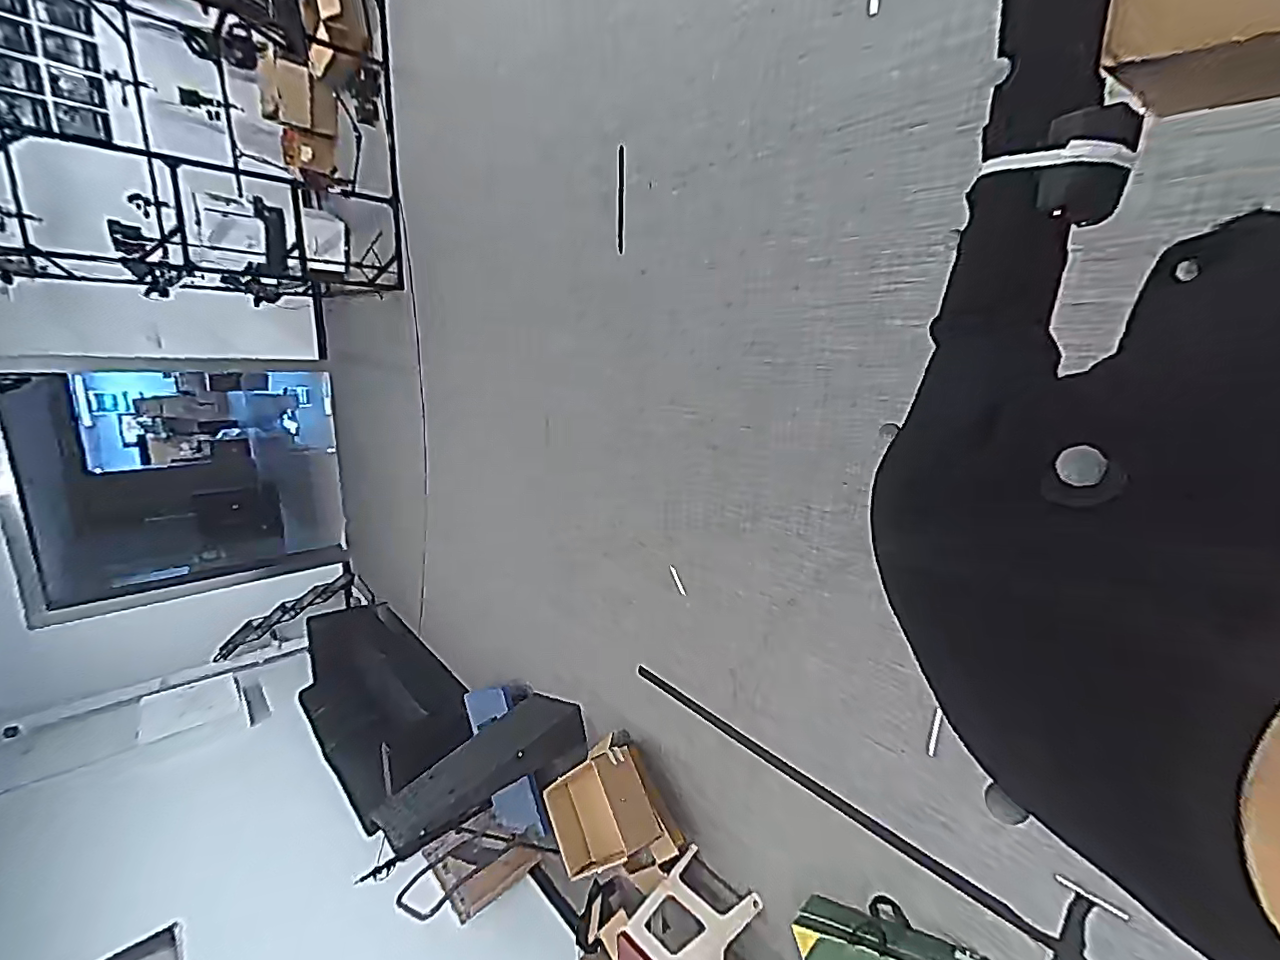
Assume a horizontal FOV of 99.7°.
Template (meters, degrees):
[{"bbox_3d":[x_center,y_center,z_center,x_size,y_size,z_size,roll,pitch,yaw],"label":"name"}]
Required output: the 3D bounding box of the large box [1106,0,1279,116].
[{"bbox_3d":[0.548,-0.429,0.276,0.408,0.320,0.320,17,122,43],"label":"large box"}]
